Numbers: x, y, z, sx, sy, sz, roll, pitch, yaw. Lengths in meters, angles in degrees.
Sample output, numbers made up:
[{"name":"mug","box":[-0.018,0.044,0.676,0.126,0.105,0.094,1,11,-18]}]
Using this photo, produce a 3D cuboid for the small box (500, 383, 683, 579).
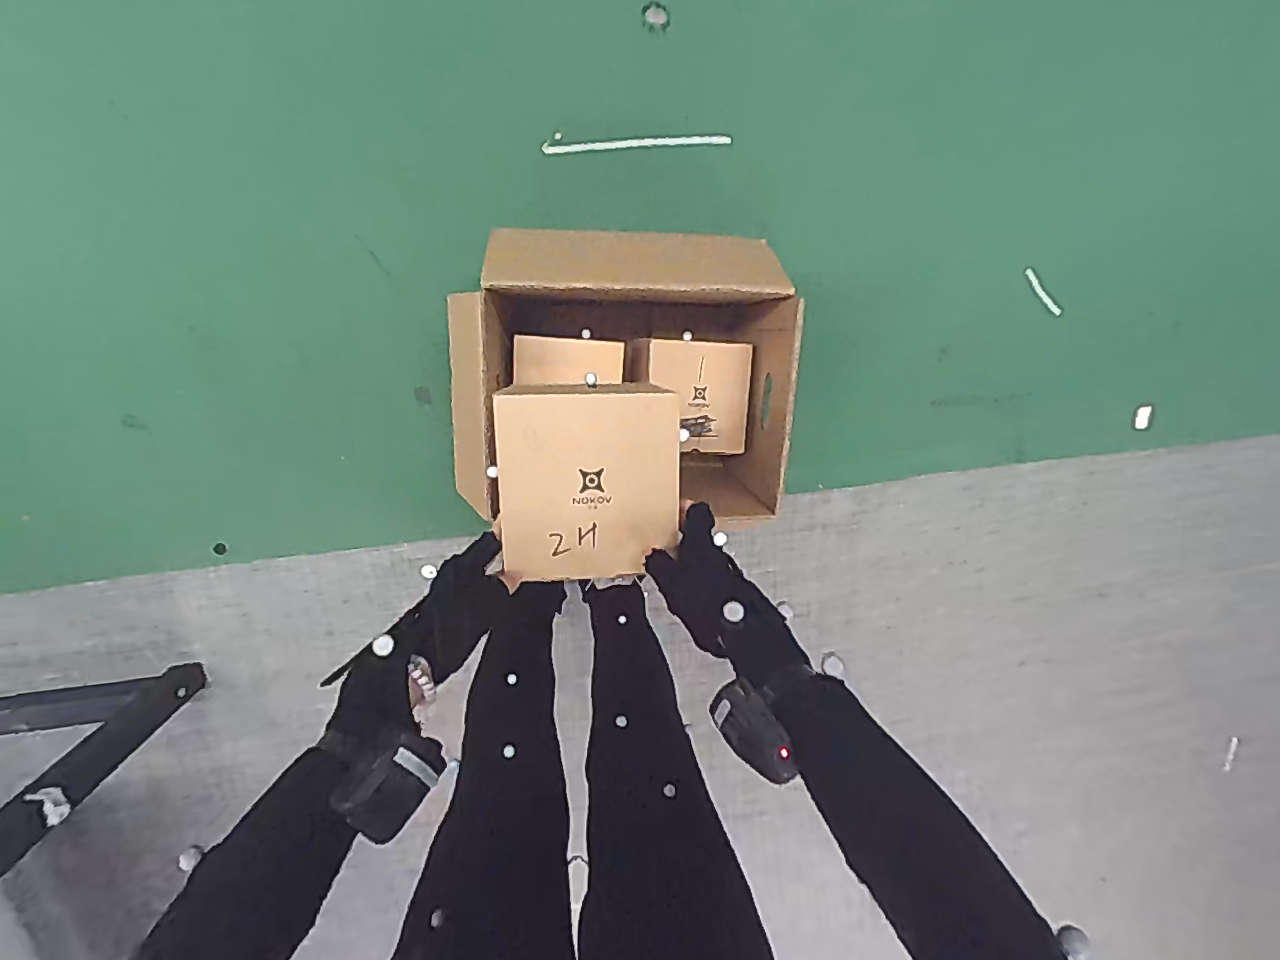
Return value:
[{"name":"small box","box":[-0.054,-0.011,0.572,0.168,0.176,0.179,-1,103,-7]}]
